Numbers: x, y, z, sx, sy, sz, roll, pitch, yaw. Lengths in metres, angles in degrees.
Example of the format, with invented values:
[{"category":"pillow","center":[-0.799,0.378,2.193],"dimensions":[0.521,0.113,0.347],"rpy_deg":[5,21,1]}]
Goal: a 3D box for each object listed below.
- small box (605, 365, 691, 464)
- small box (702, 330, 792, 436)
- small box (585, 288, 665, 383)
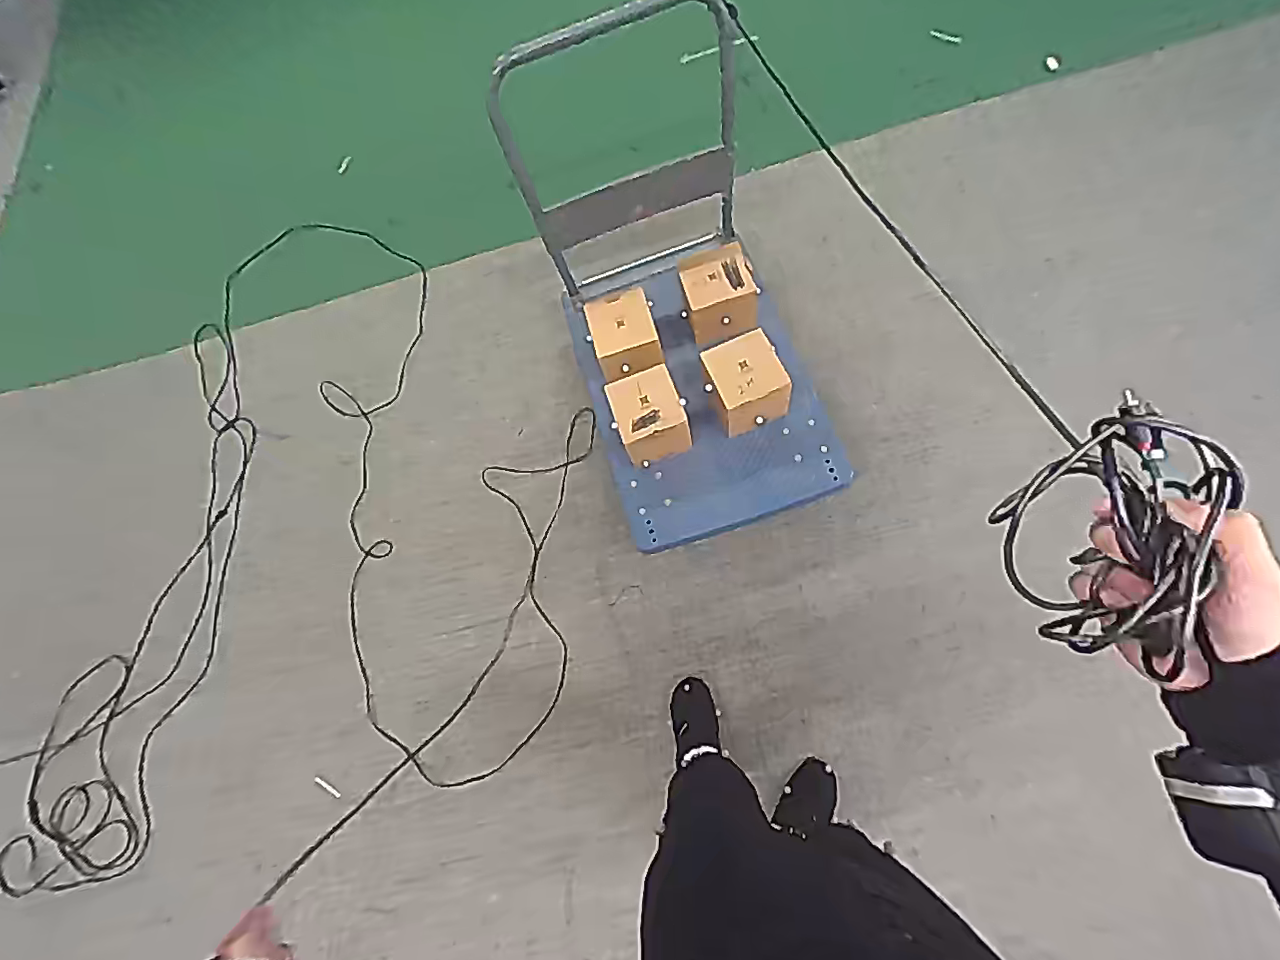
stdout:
[{"category":"small box","center":[0.027,-0.157,1.386],"dimensions":[0.168,0.176,0.179],"rpy_deg":[-20,68,2]},{"category":"small box","center":[0.267,-0.240,1.373],"dimensions":[0.168,0.176,0.179],"rpy_deg":[-22,69,2]},{"category":"small box","center":[-0.036,-0.381,1.476],"dimensions":[0.168,0.176,0.179],"rpy_deg":[-17,69,3]}]
